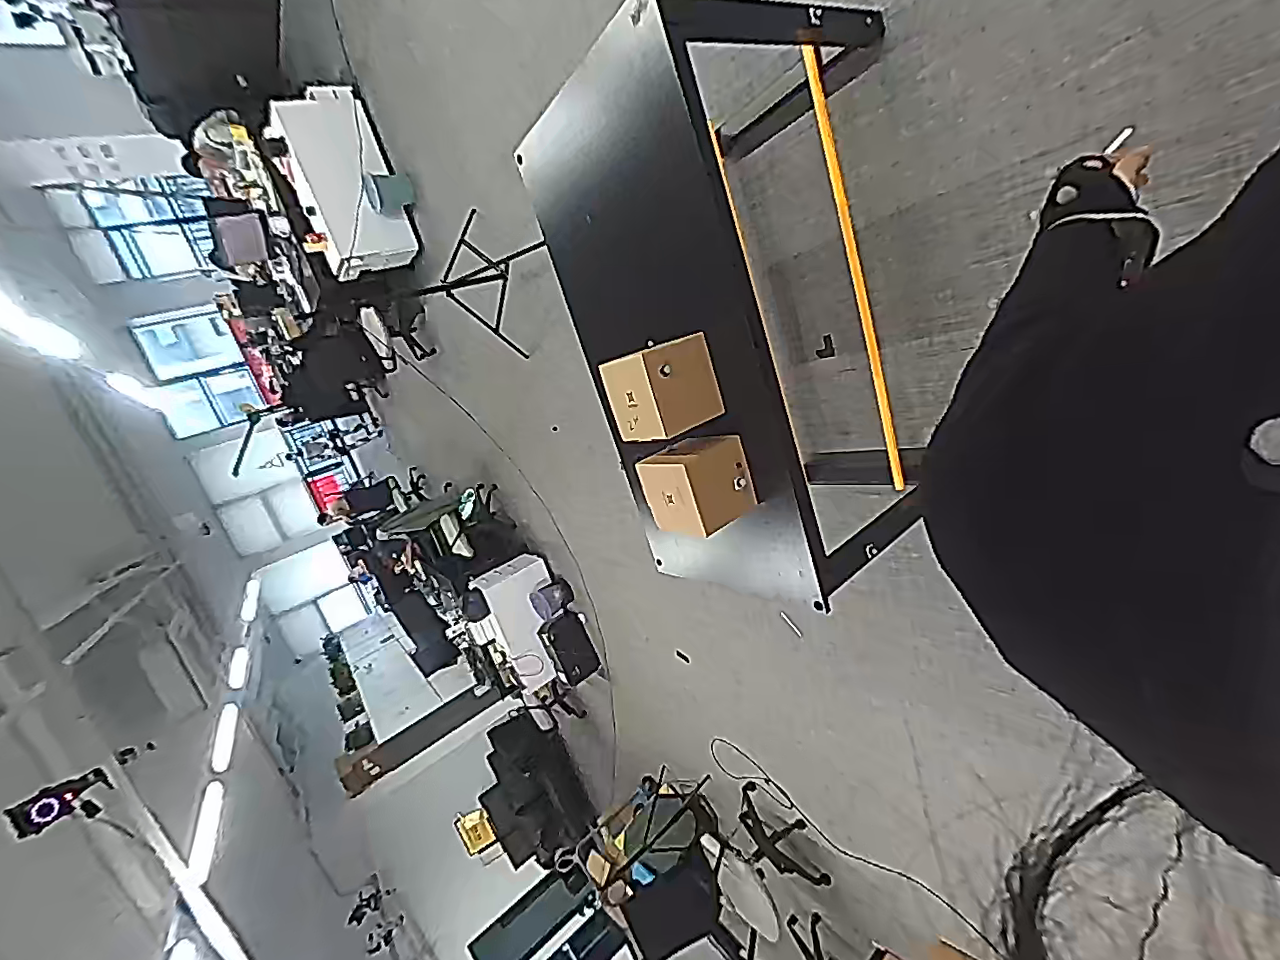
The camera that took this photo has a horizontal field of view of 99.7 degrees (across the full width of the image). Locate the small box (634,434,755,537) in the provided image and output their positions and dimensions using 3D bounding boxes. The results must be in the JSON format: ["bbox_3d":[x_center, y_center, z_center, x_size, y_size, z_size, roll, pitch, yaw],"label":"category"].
[{"bbox_3d":[0.120,0.007,1.182,0.179,0.176,0.168,1,115,56],"label":"small box"}]
